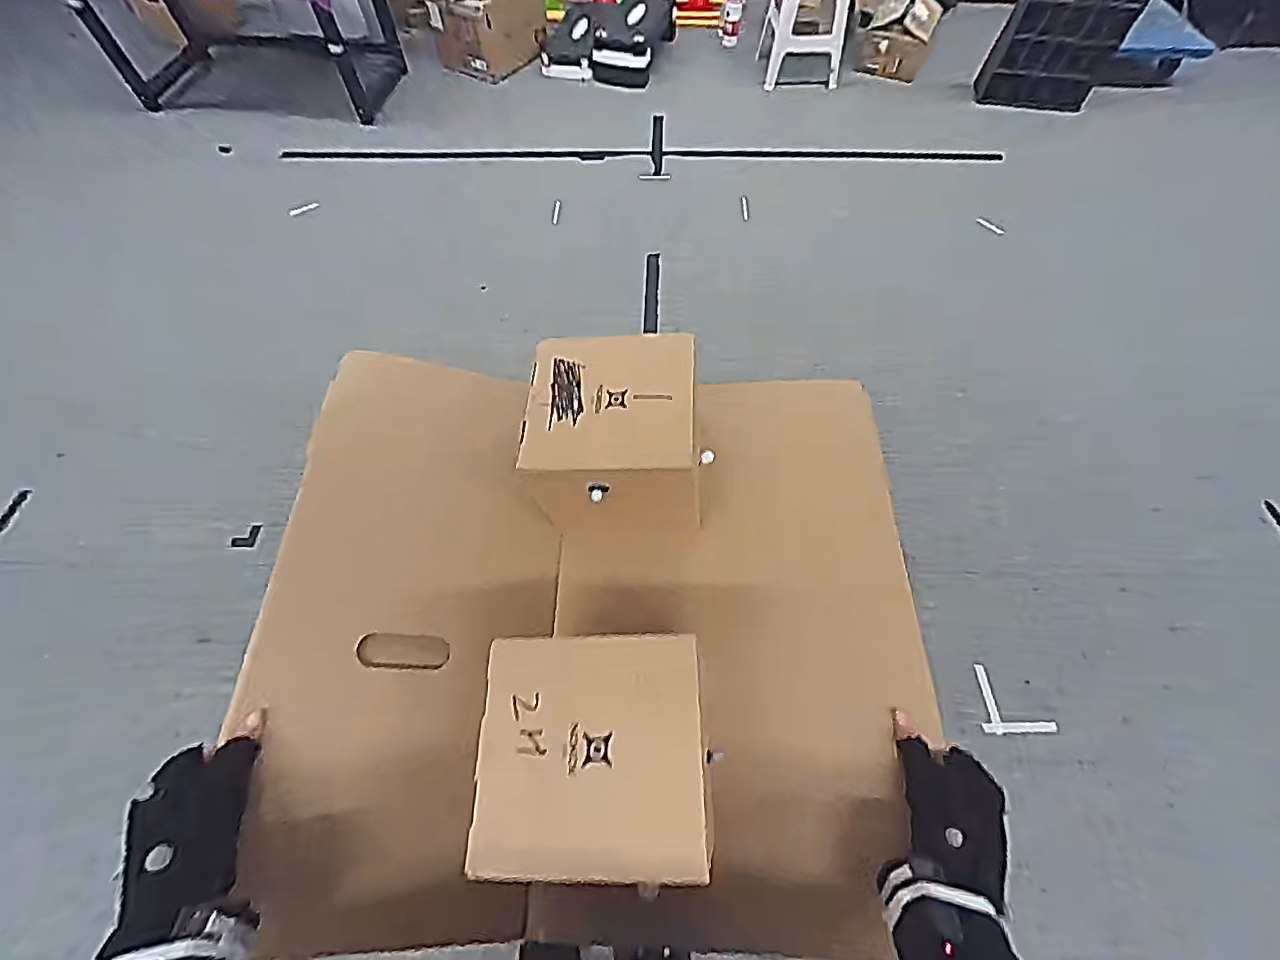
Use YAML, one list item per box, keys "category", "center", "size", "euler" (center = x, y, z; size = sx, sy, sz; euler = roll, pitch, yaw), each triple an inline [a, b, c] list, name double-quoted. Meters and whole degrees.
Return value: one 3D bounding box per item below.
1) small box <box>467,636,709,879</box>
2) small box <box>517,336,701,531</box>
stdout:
- category: "small box"
  center: [-0.028, 0.238, 0.486]
  size: [0.179, 0.176, 0.168]
  euler: [-3, 63, 8]
- category: "small box"
  center: [-0.022, -0.045, 0.629]
  size: [0.179, 0.176, 0.168]
  euler: [0, 63, 8]
